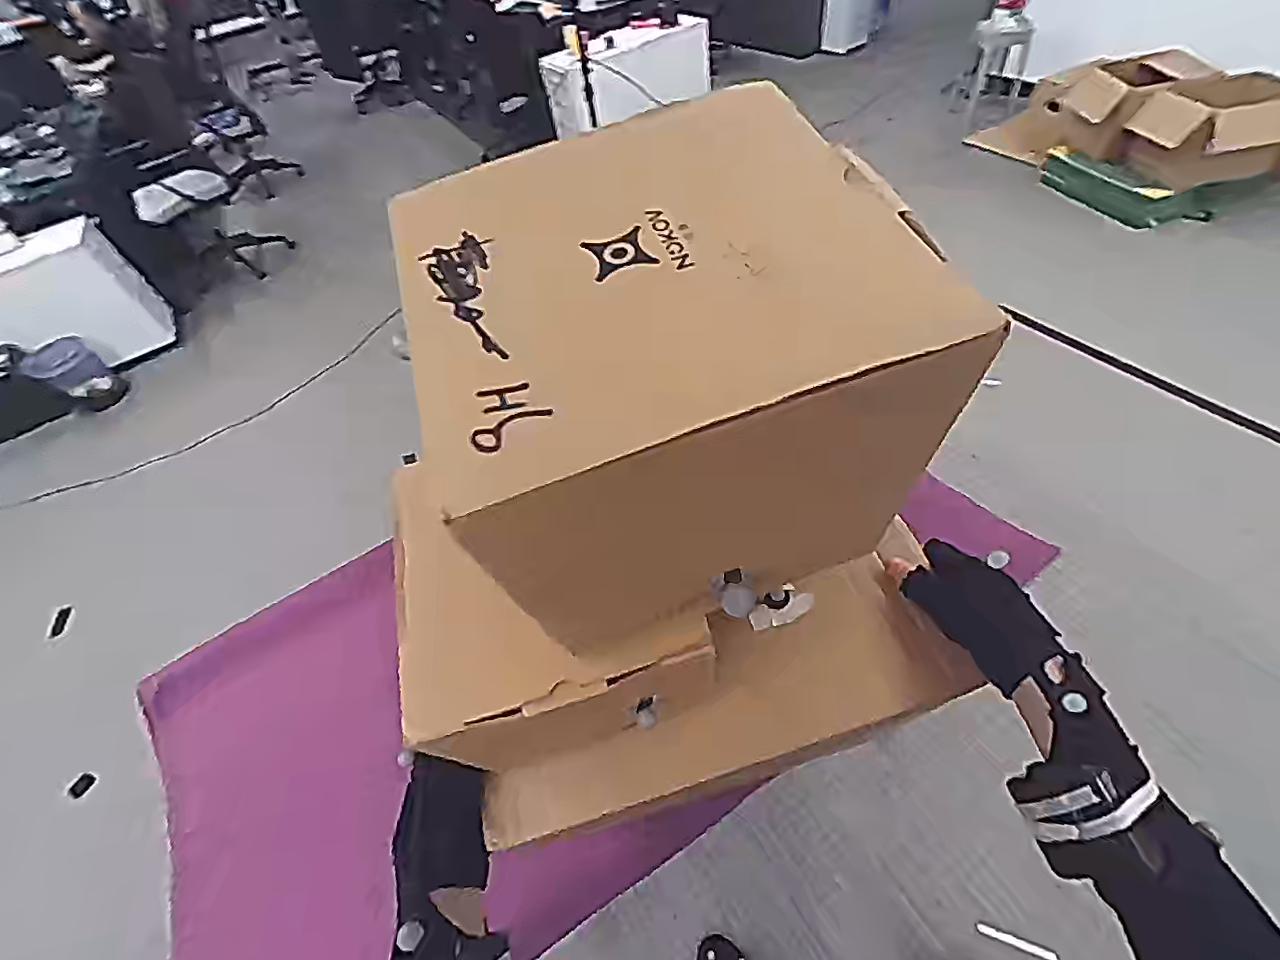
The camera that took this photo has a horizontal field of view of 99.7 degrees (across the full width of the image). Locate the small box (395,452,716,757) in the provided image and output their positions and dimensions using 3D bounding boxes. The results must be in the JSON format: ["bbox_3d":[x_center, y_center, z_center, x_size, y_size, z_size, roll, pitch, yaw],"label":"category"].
[{"bbox_3d":[-0.052,0.079,0.380,0.168,0.176,0.179,-15,57,-5],"label":"small box"}]

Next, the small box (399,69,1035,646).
[{"bbox_3d":[0.015,-0.043,0.253,0.179,0.176,0.168,-18,58,-4],"label":"small box"}]

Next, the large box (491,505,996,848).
[{"bbox_3d":[0.058,0.161,0.603,0.408,0.320,0.320,-16,59,-5],"label":"large box"}]
